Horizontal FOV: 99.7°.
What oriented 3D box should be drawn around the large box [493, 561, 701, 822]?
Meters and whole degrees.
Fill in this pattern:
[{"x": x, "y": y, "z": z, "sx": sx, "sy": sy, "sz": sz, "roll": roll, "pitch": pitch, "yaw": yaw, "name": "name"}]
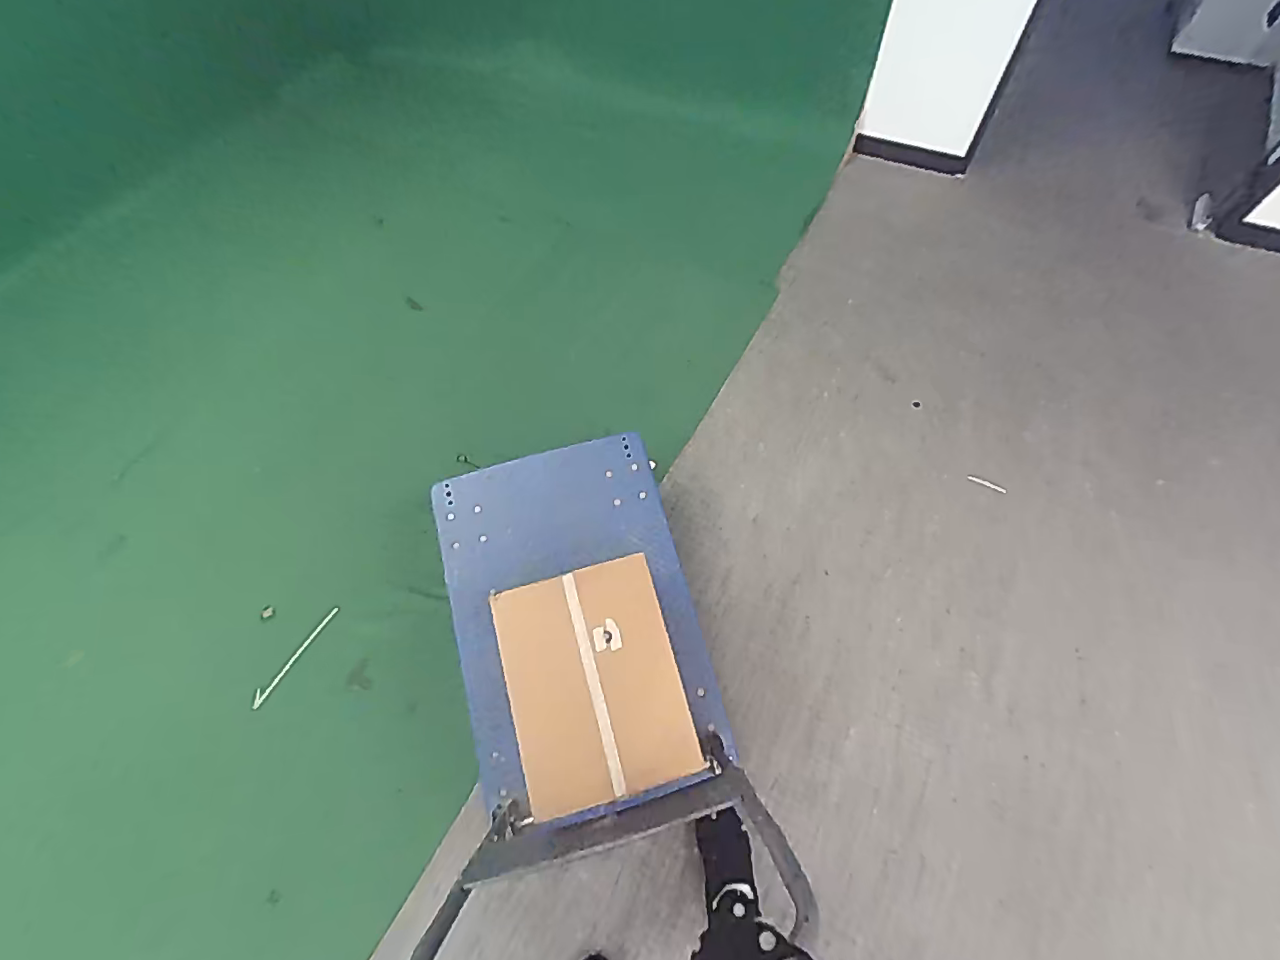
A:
[{"x": -0.087, "y": 0.429, "z": 1.157, "sx": 0.320, "sy": 0.320, "sz": 0.408, "roll": -15, "pitch": 72, "yaw": -5, "name": "large box"}]
